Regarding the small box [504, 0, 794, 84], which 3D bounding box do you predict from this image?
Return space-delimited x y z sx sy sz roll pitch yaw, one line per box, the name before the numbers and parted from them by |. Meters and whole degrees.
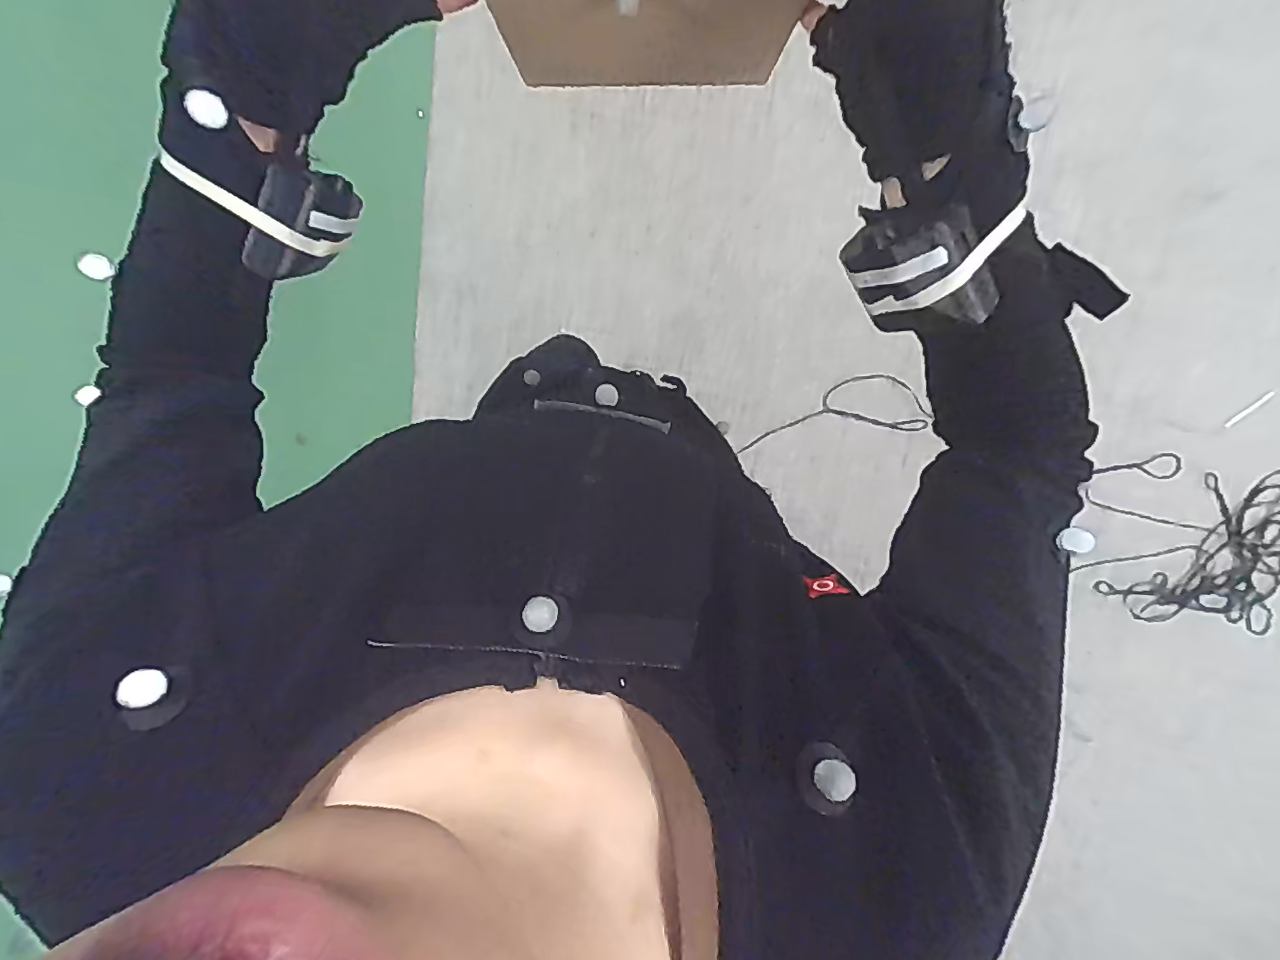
small box | 0.006 -0.344 0.295 0.179 0.176 0.168 -1 106 -1
